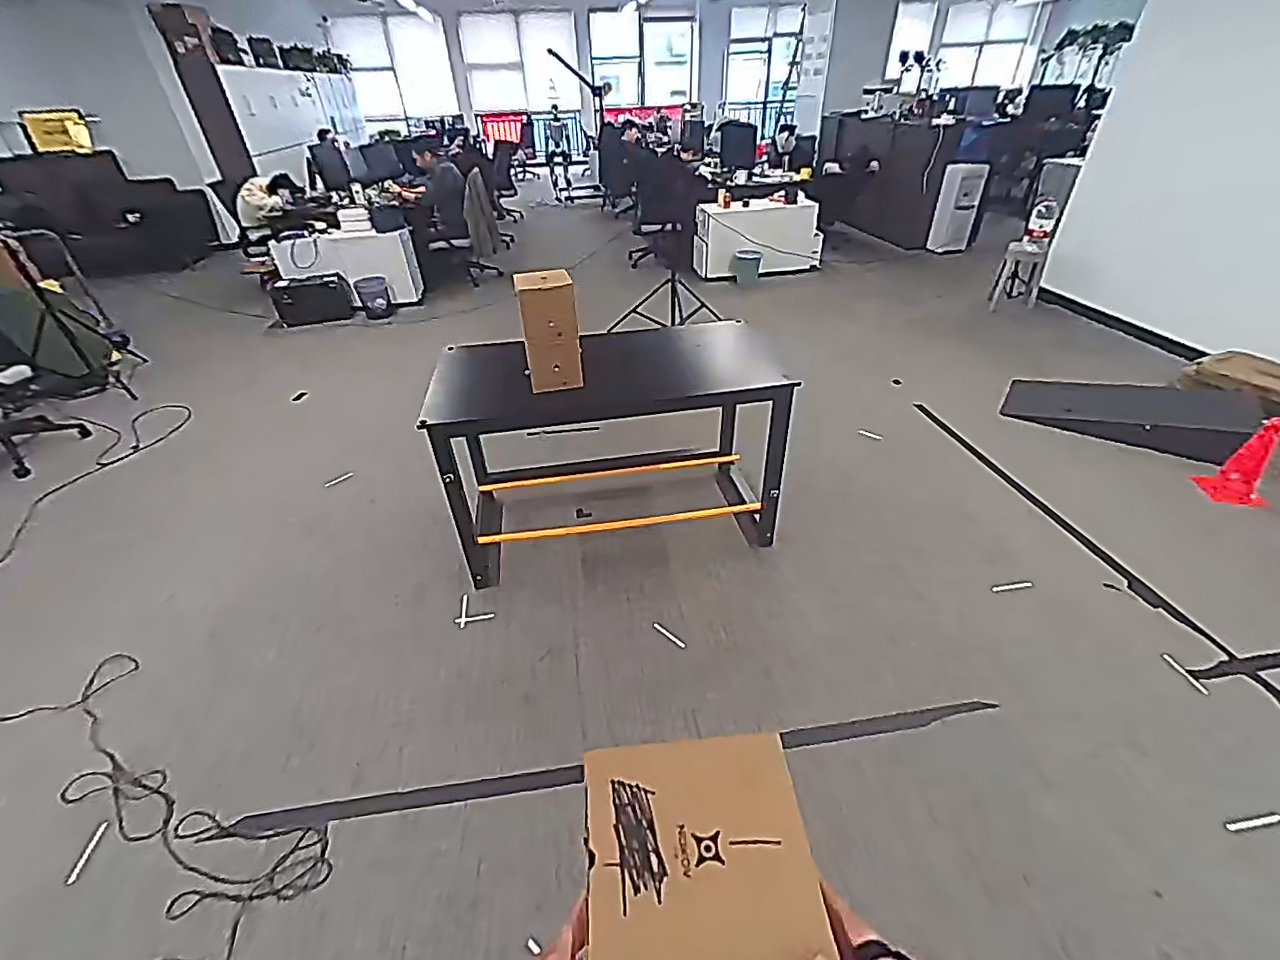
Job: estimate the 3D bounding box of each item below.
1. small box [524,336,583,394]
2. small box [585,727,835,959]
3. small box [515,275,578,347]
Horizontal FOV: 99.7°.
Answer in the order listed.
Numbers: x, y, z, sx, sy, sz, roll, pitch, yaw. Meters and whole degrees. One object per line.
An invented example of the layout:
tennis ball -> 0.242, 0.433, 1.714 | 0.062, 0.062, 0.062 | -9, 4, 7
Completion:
small box -> -0.287, -0.396, 1.800 | 0.168, 0.176, 0.179 | -10, 37, -9
small box -> 0.047, 0.344, 0.480 | 0.179, 0.176, 0.168 | -4, 42, -3
small box -> -0.295, -0.533, 1.707 | 0.168, 0.176, 0.179 | -11, 37, -10
